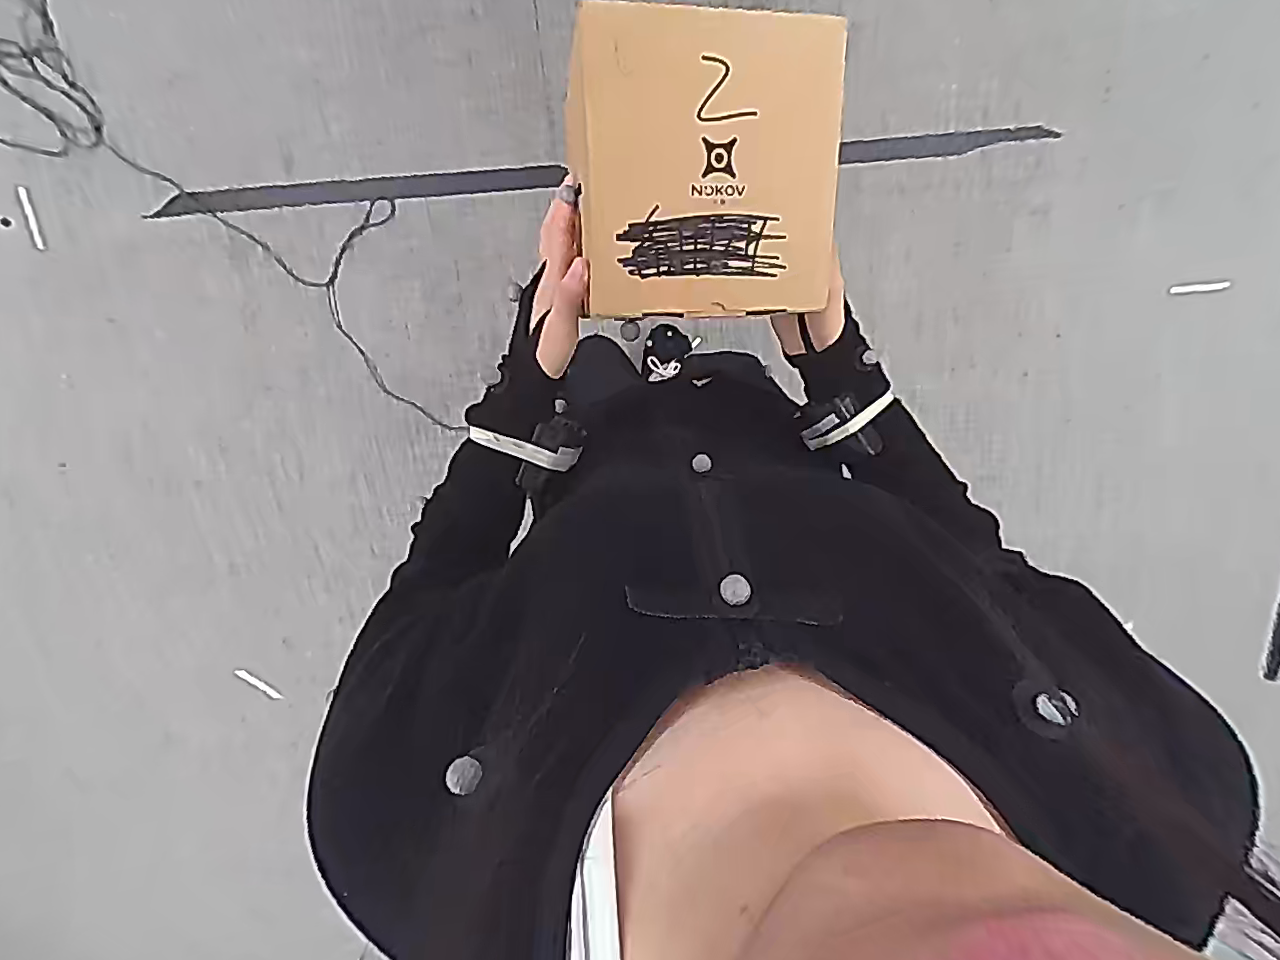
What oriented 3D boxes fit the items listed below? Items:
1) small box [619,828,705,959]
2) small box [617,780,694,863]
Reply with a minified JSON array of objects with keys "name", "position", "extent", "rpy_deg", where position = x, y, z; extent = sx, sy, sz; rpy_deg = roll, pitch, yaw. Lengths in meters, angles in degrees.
[{"name":"small box","position":[0.046,0.889,1.156],"extent":[0.168,0.176,0.179],"rpy_deg":[-6,102,0]},{"name":"small box","position":[0.038,0.861,1.317],"extent":[0.179,0.176,0.168],"rpy_deg":[-6,102,1]}]
